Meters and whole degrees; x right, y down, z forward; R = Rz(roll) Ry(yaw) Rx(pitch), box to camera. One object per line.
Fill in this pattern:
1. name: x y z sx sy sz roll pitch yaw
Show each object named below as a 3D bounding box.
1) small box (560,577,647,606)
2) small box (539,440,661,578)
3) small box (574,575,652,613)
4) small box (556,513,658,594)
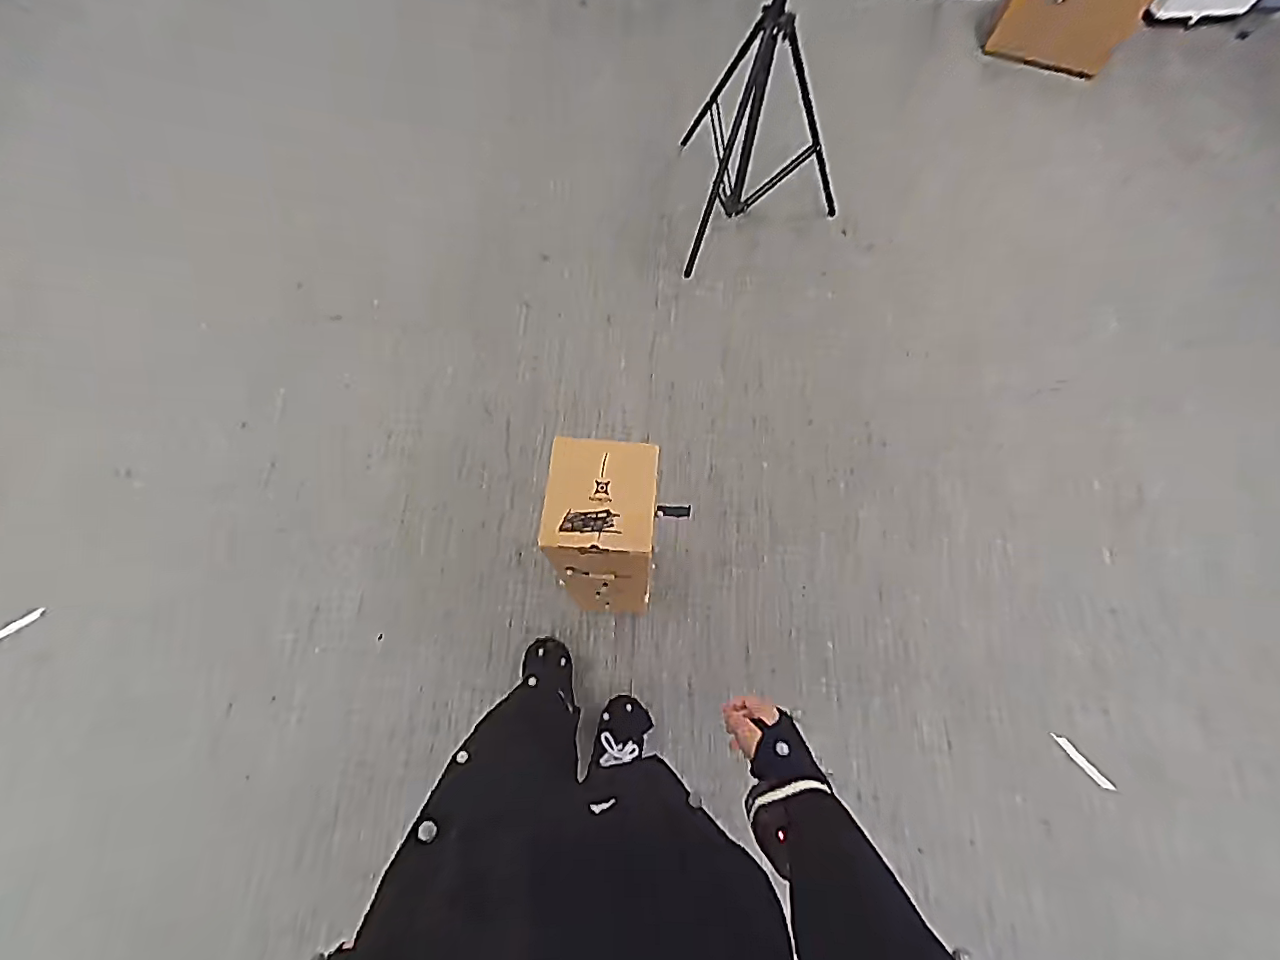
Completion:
1. small box: -0.066 0.176 1.176 0.179 0.176 0.168 6 70 2
2. small box: -0.056 0.054 0.872 0.168 0.176 0.179 5 68 1
3. small box: -0.061 0.232 1.331 0.179 0.176 0.168 4 69 1
4. small box: -0.054 0.115 1.025 0.168 0.176 0.179 6 70 1
